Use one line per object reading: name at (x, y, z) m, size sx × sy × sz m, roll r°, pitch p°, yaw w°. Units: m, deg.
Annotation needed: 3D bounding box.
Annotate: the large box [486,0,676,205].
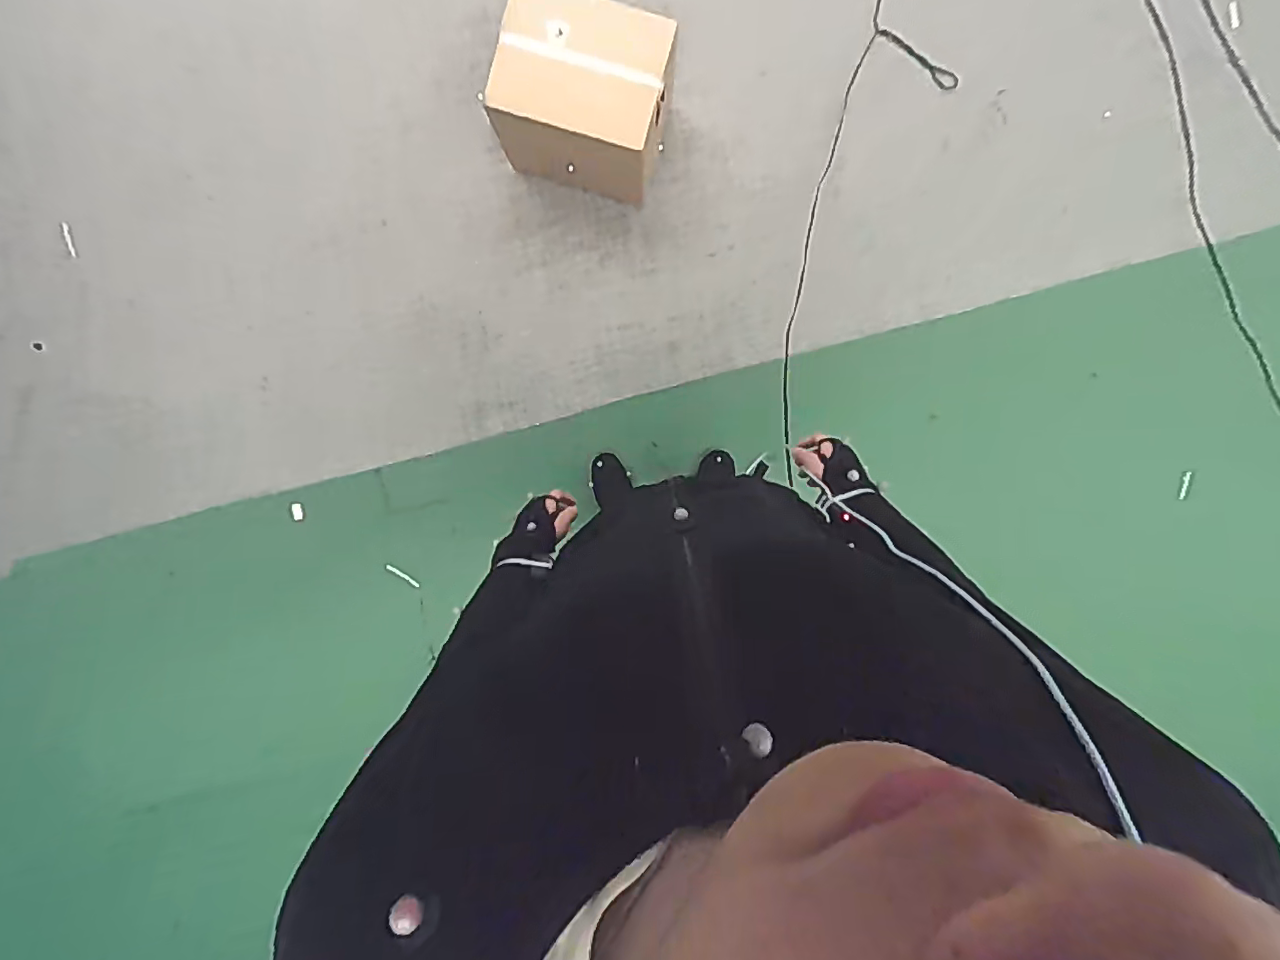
large box at (-0.137, -0.994, 1.442) m, size 0.408 × 0.320 × 0.320 m, roll 16°, pitch 93°, yaw 1°
